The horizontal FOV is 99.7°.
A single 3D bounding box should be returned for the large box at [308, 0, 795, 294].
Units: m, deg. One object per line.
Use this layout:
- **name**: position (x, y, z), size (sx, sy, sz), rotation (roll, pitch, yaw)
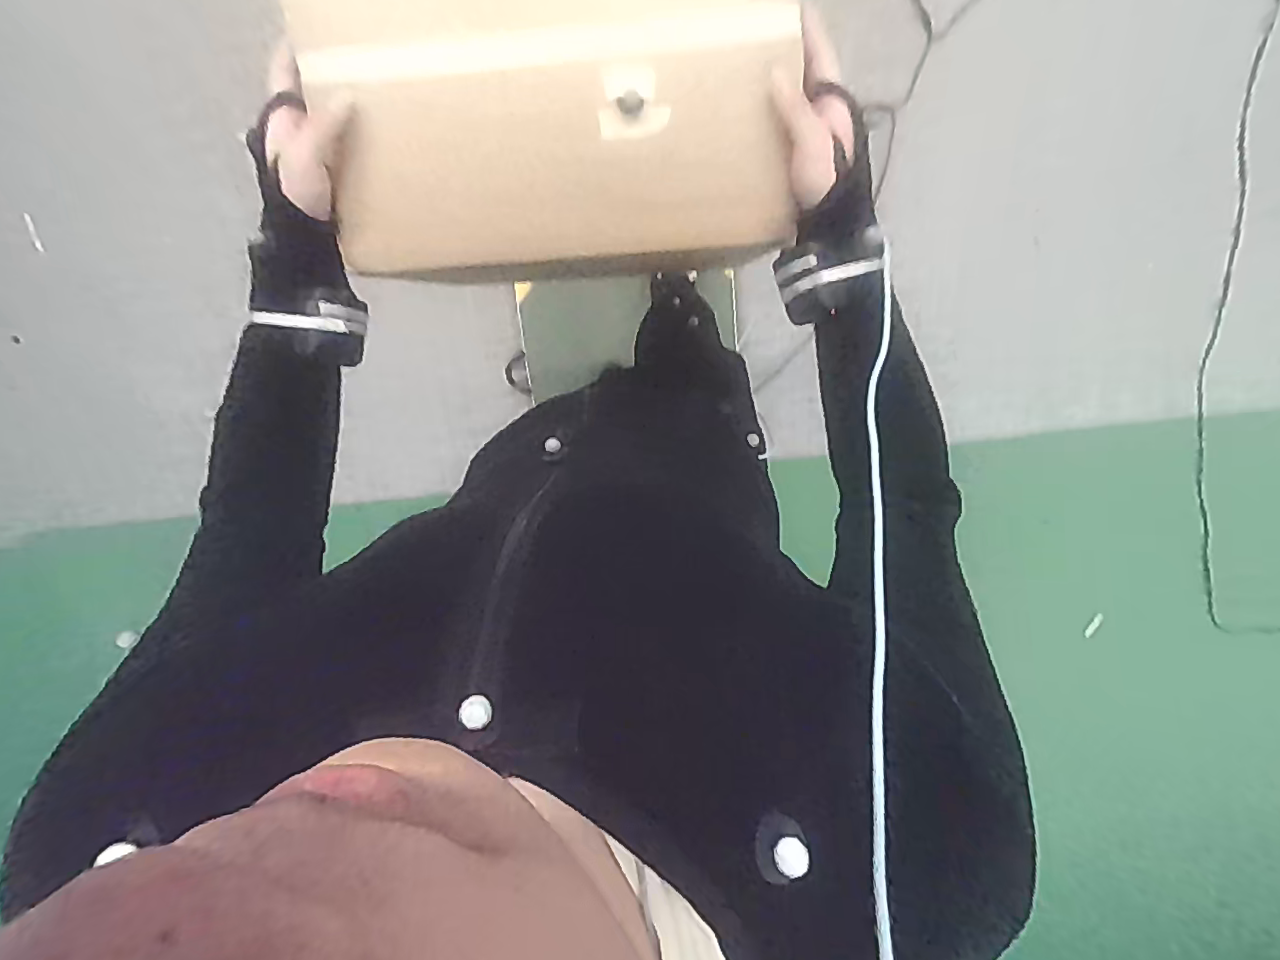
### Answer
- **large box**: position (-0.069, -0.389, 0.594), size (0.408, 0.320, 0.320), rotation (-3, 107, 2)
